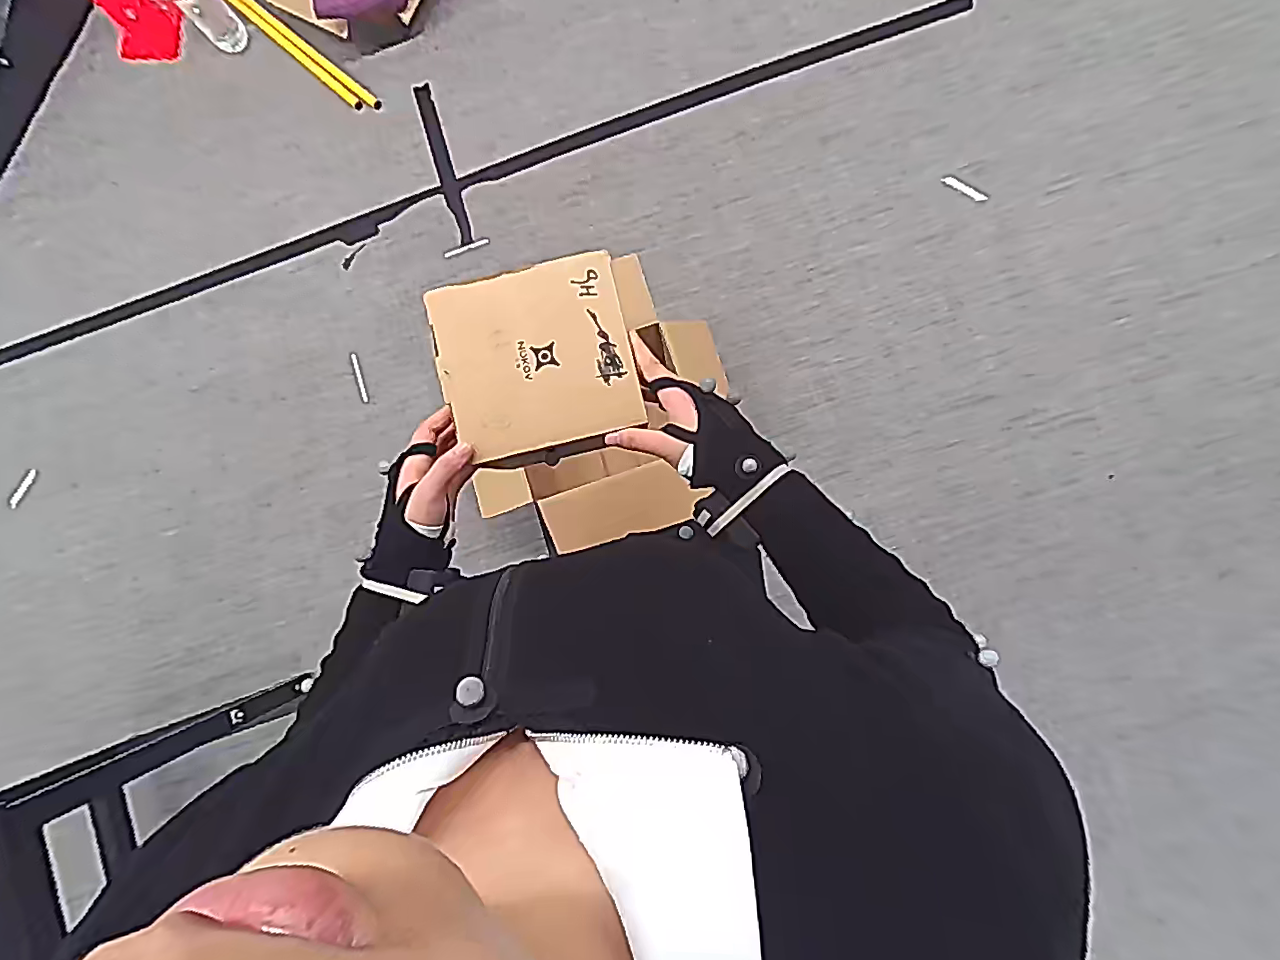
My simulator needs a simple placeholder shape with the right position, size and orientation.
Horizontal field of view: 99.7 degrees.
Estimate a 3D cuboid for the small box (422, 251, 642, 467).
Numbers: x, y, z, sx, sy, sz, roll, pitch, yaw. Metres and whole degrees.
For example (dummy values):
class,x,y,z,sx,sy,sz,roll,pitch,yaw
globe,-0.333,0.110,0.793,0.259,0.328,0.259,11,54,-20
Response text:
class,x,y,z,sx,sy,sz,roll,pitch,yaw
small box,-0.098,-0.110,0.570,0.179,0.176,0.168,-13,90,0
